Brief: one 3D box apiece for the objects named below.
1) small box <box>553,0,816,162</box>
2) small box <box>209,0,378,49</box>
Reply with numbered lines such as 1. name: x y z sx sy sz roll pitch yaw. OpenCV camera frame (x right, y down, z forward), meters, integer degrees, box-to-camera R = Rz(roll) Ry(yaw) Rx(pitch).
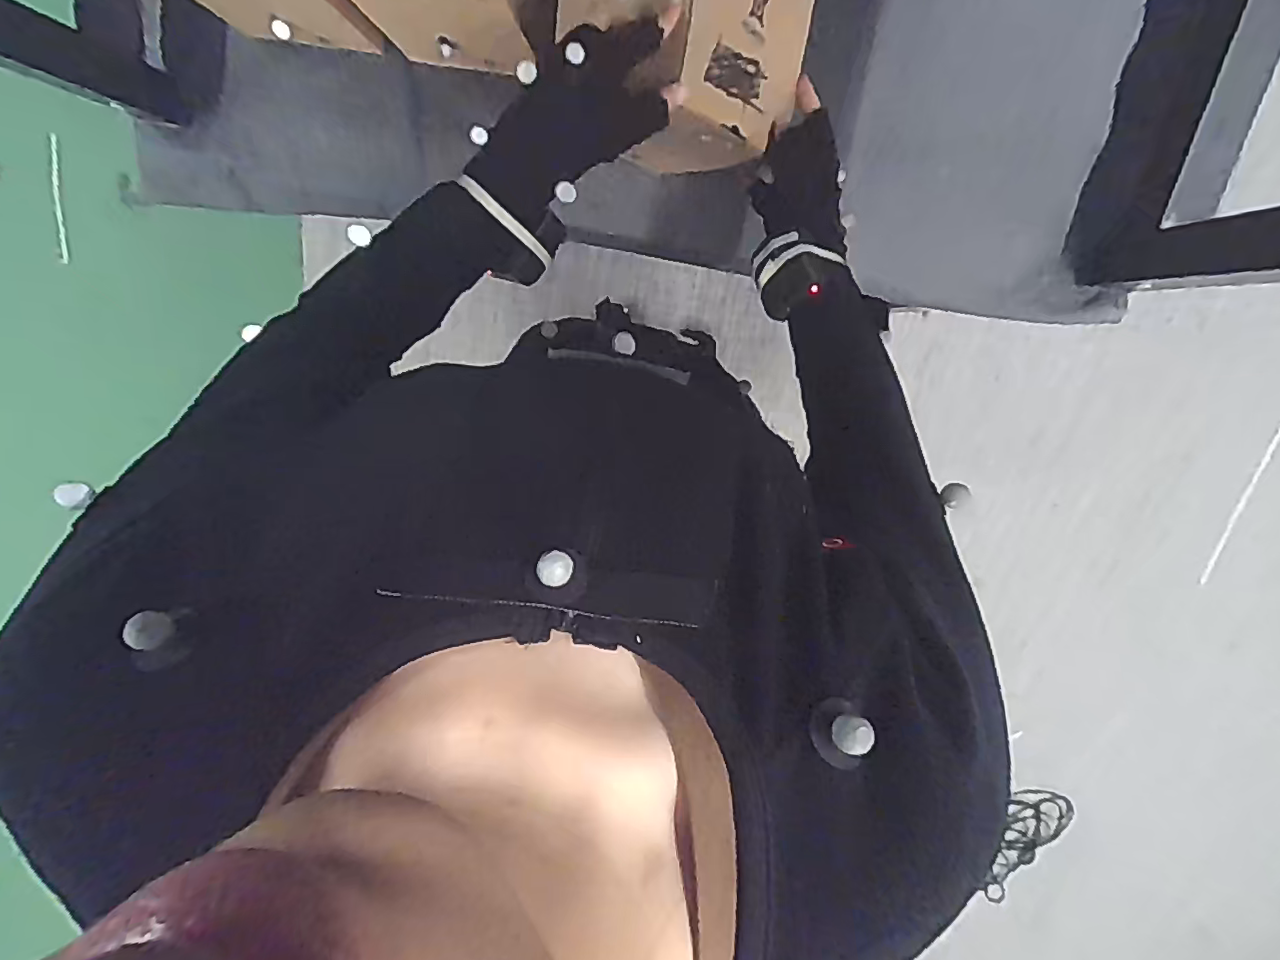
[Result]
1. small box: 0.038 -0.411 0.495 0.176 0.168 0.179 22 111 39
2. small box: -0.370 -0.563 0.516 0.168 0.176 0.179 9 106 2
